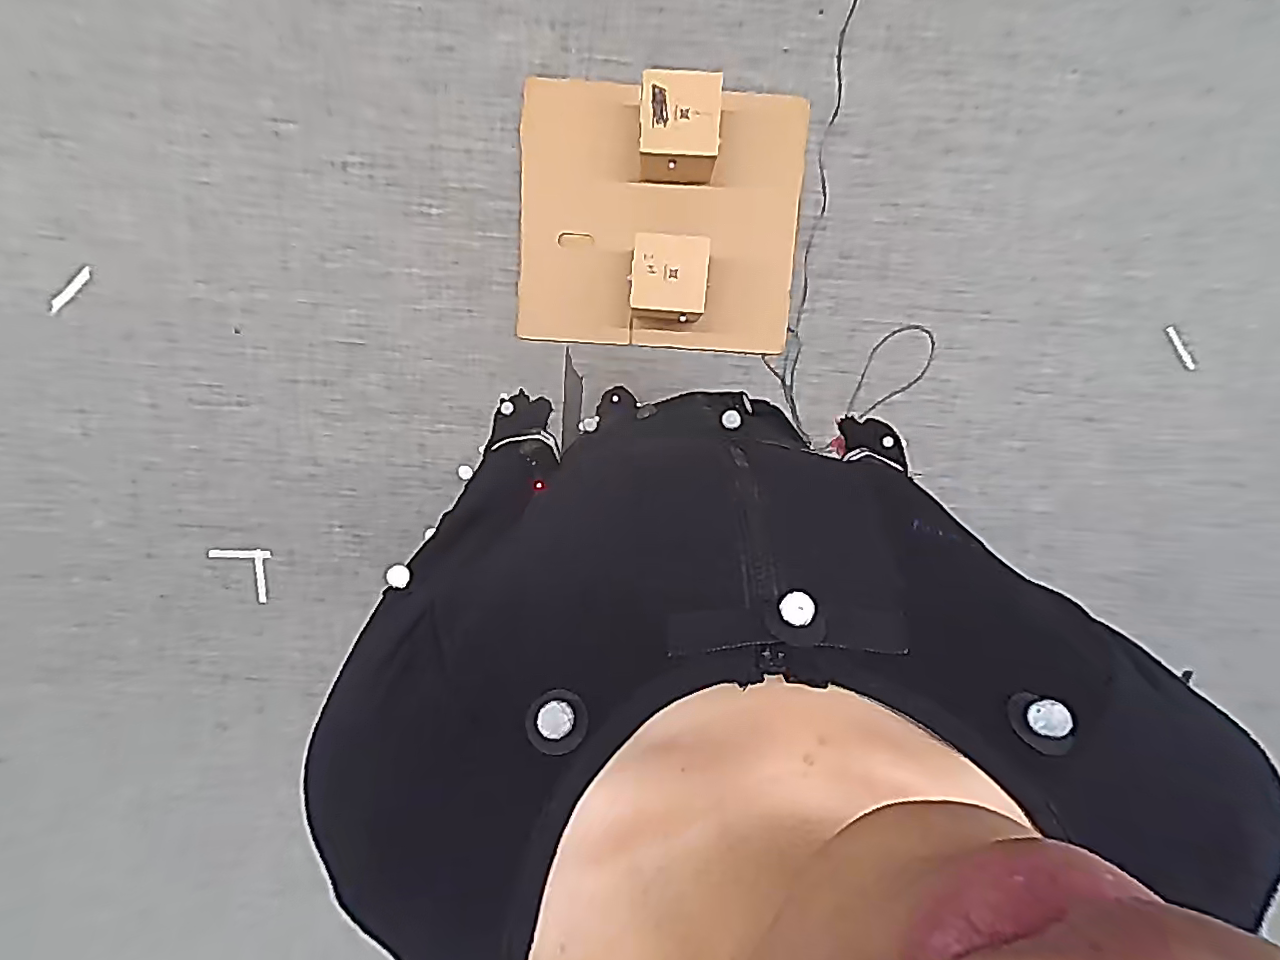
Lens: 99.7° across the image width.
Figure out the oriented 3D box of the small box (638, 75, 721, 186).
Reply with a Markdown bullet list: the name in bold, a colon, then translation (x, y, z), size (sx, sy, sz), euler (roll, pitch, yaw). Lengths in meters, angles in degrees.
- **small box**: translation (0.087, -0.804, 1.259), size (0.179, 0.176, 0.168), euler (2, 100, 0)

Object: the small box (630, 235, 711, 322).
- **small box**: translation (0.071, -0.482, 1.315), size (0.179, 0.176, 0.168), euler (5, 100, 1)
